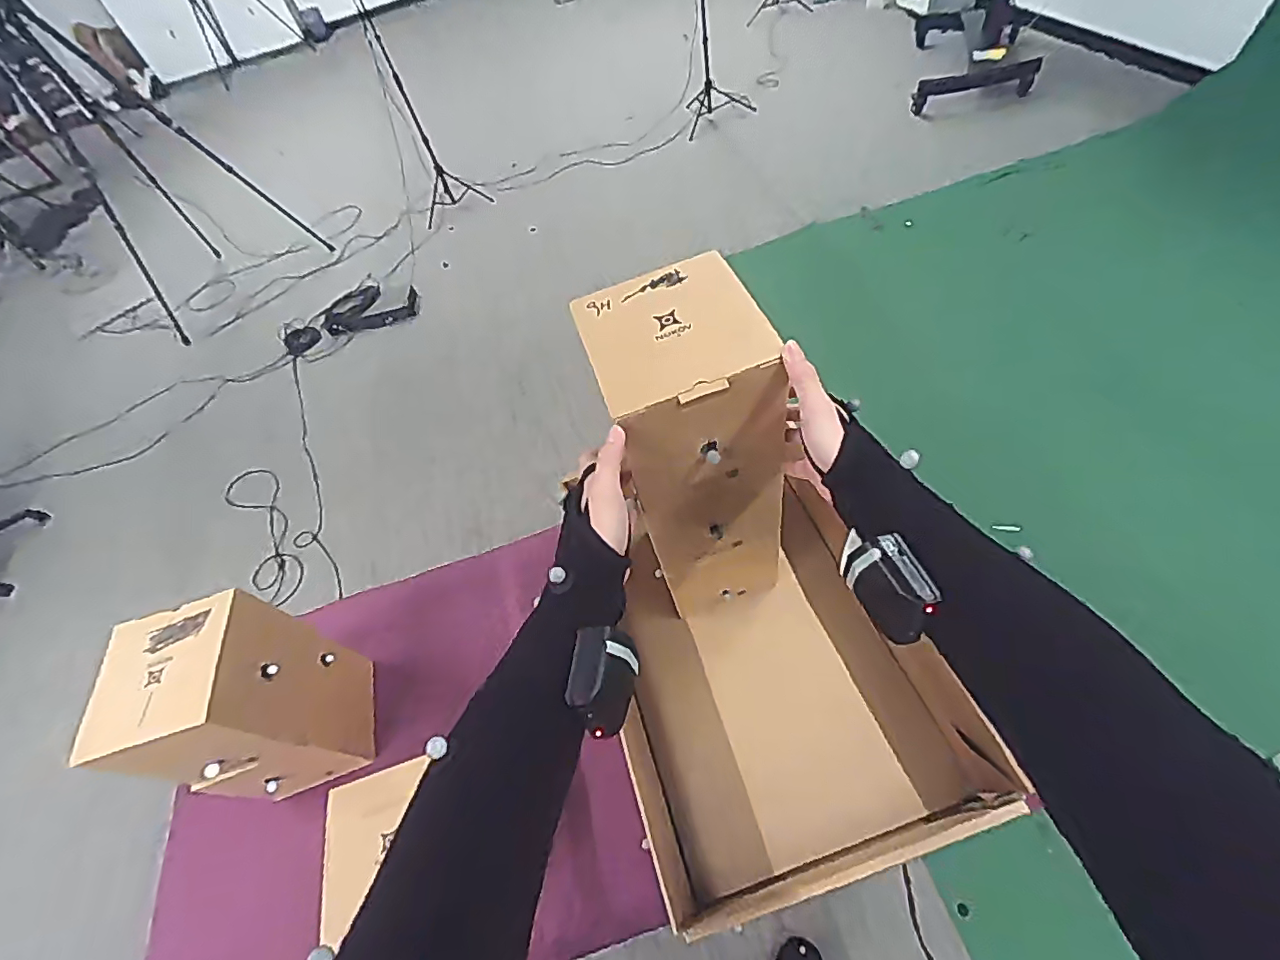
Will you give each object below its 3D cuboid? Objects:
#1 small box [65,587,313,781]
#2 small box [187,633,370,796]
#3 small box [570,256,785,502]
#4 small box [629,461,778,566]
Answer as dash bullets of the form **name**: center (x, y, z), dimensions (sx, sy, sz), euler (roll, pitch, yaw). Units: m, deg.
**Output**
- **small box**: center (-0.567, 0.273, 0.714), dimensions (0.168, 0.176, 0.179), euler (-17, 53, 0)
- **small box**: center (-0.544, 0.373, 0.843), dimensions (0.168, 0.176, 0.179), euler (-21, 52, -3)
- **small box**: center (0.042, -0.096, 0.577), dimensions (0.168, 0.176, 0.179), euler (-19, 56, -1)
- **small box**: center (0.072, -0.005, 0.709), dimensions (0.168, 0.176, 0.179), euler (-18, 54, 0)
